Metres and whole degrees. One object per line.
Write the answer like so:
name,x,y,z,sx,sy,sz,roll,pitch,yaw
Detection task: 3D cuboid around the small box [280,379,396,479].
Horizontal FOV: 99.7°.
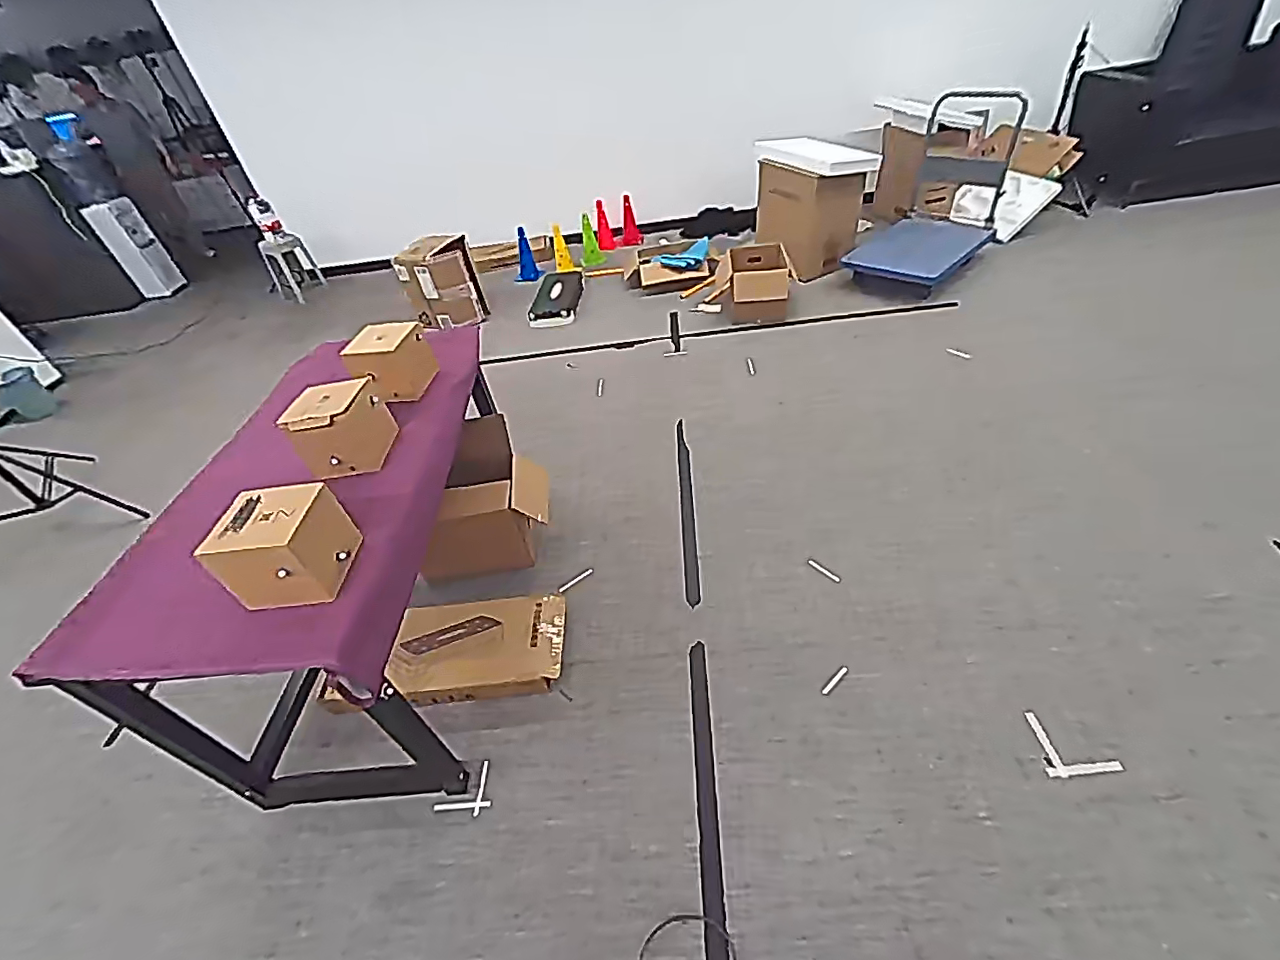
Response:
small box,-0.736,-0.127,1.345,0.168,0.176,0.179,-9,41,5

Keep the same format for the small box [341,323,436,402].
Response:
small box,-0.723,-0.339,1.582,0.168,0.176,0.179,-2,42,9
